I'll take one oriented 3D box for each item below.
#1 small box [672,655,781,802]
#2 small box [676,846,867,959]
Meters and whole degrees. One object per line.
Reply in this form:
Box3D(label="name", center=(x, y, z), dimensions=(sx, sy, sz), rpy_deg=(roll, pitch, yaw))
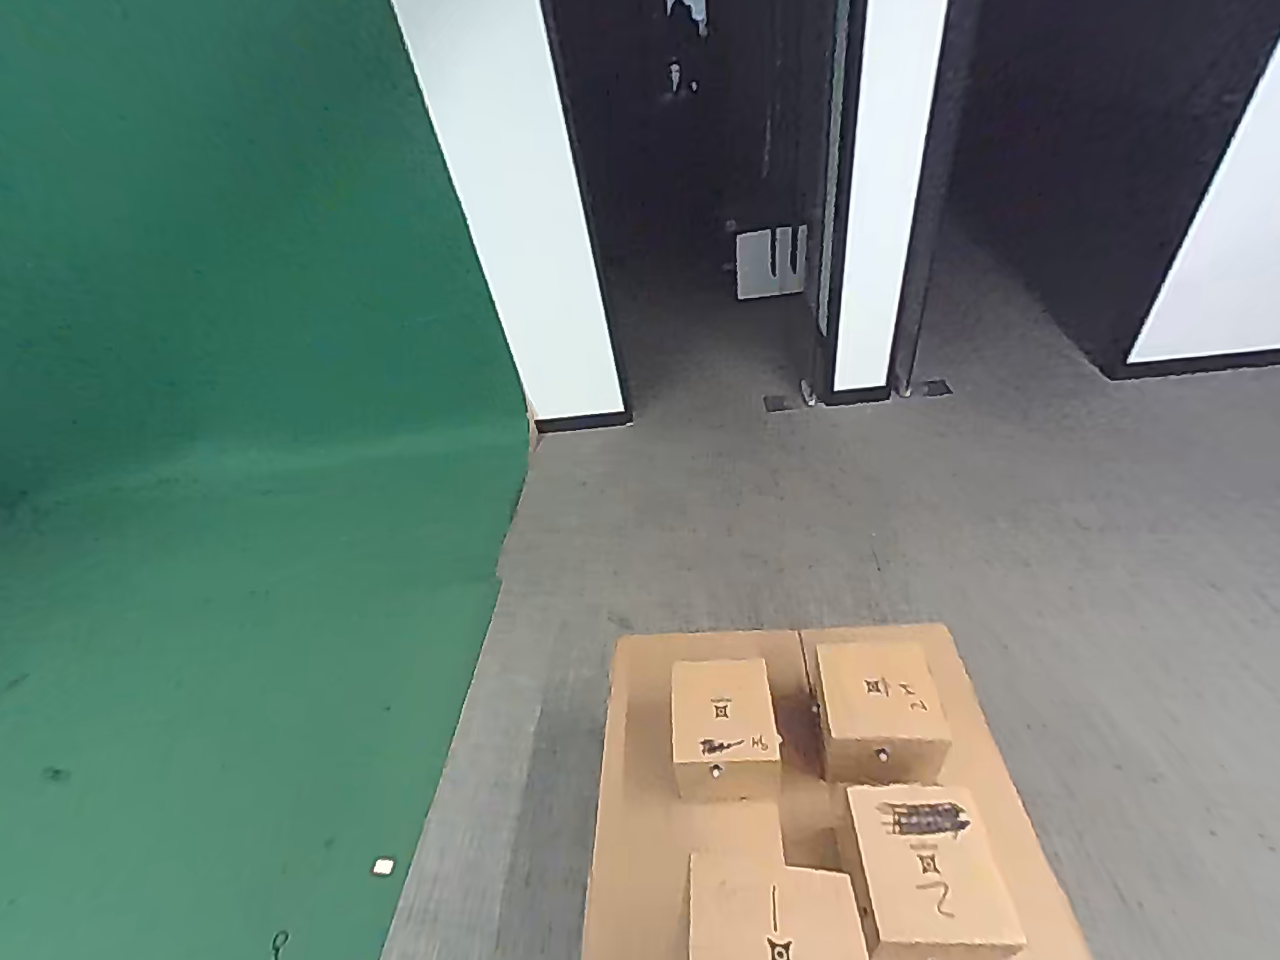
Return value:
Box3D(label="small box", center=(0.148, 0.430, 0.936), dimensions=(0.168, 0.176, 0.179), rpy_deg=(-7, 39, 9))
Box3D(label="small box", center=(0.119, 0.500, 0.519), dimensions=(0.168, 0.176, 0.179), rpy_deg=(5, 25, 4))
